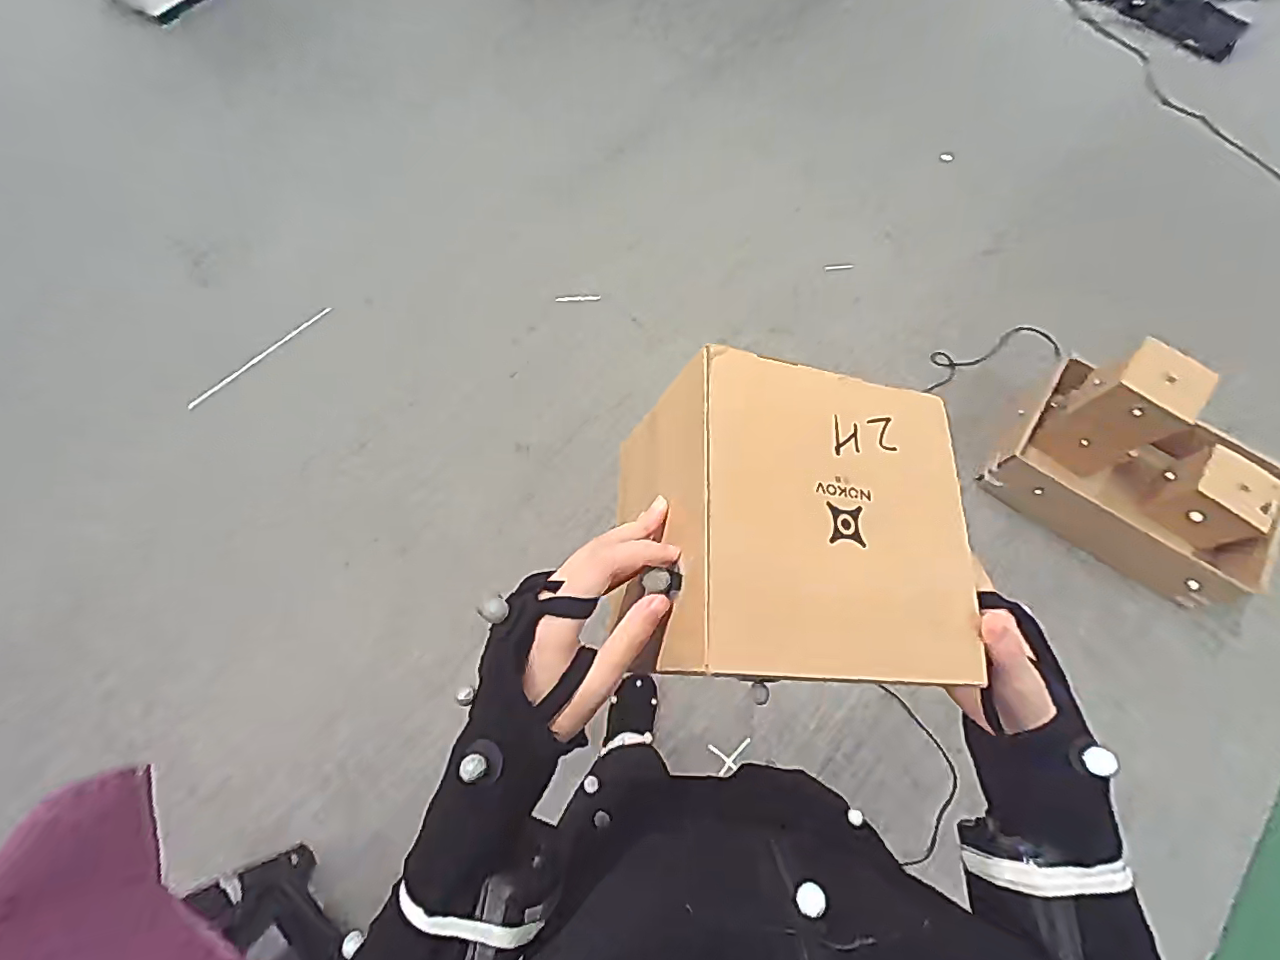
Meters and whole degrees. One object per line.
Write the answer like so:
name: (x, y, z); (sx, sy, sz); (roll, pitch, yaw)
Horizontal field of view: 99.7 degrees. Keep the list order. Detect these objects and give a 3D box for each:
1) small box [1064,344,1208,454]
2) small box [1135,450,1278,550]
small box: (1.207, -0.192, 1.331); (0.179, 0.176, 0.168); (38, 74, 12)
small box: (1.468, 0.060, 1.413); (0.179, 0.176, 0.168); (39, 73, 14)
